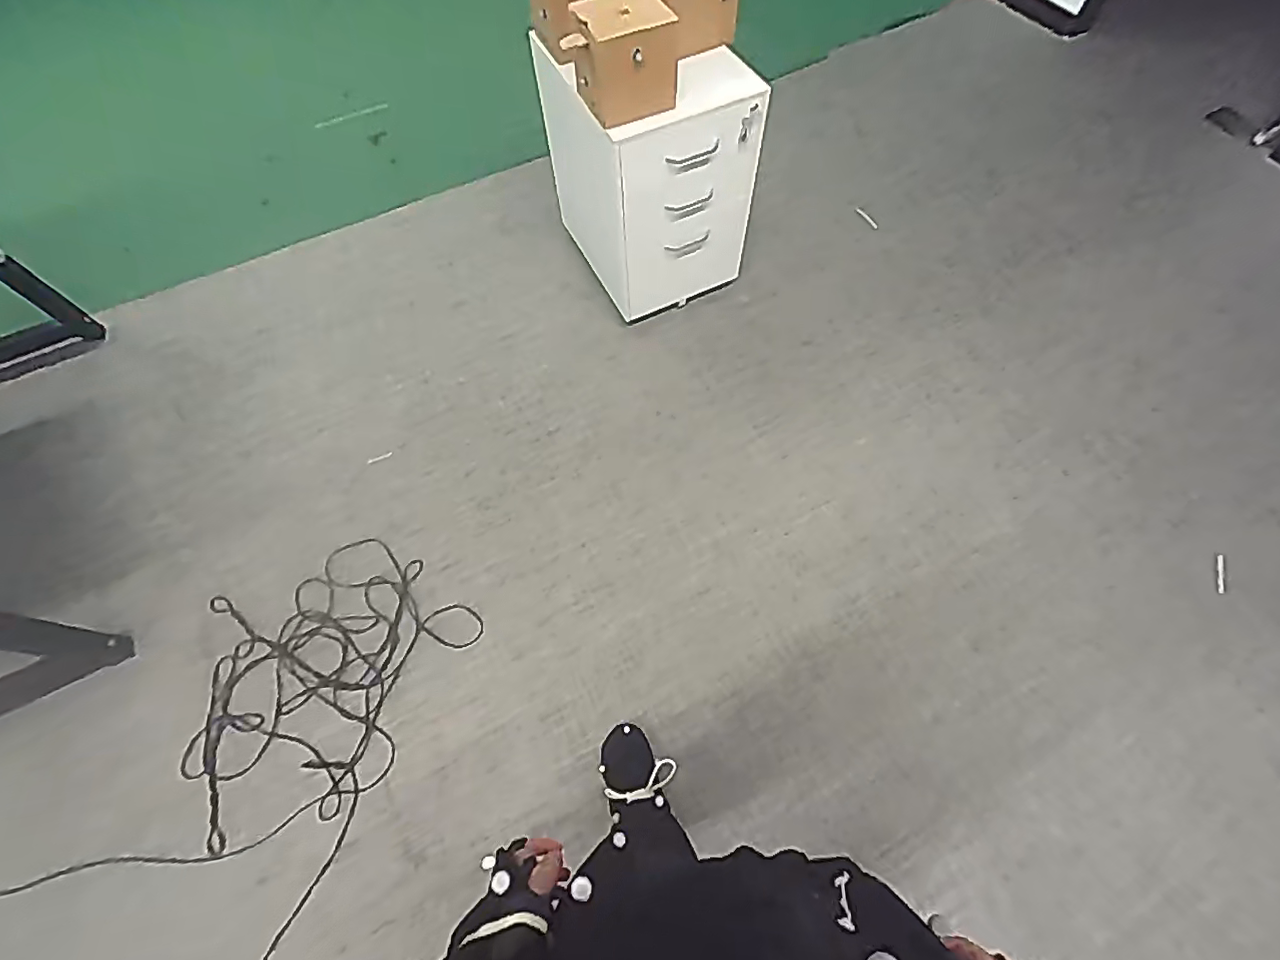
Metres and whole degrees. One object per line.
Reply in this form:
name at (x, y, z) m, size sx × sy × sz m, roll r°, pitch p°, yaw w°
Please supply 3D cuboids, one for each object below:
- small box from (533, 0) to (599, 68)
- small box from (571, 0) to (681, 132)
small box at (-0.147, -1.107, 1.264) m, size 0.179 × 0.176 × 0.168 m, roll -23°, pitch 67°, yaw -11°
small box at (-0.029, -0.885, 1.150) m, size 0.179 × 0.176 × 0.168 m, roll -24°, pitch 65°, yaw -10°
